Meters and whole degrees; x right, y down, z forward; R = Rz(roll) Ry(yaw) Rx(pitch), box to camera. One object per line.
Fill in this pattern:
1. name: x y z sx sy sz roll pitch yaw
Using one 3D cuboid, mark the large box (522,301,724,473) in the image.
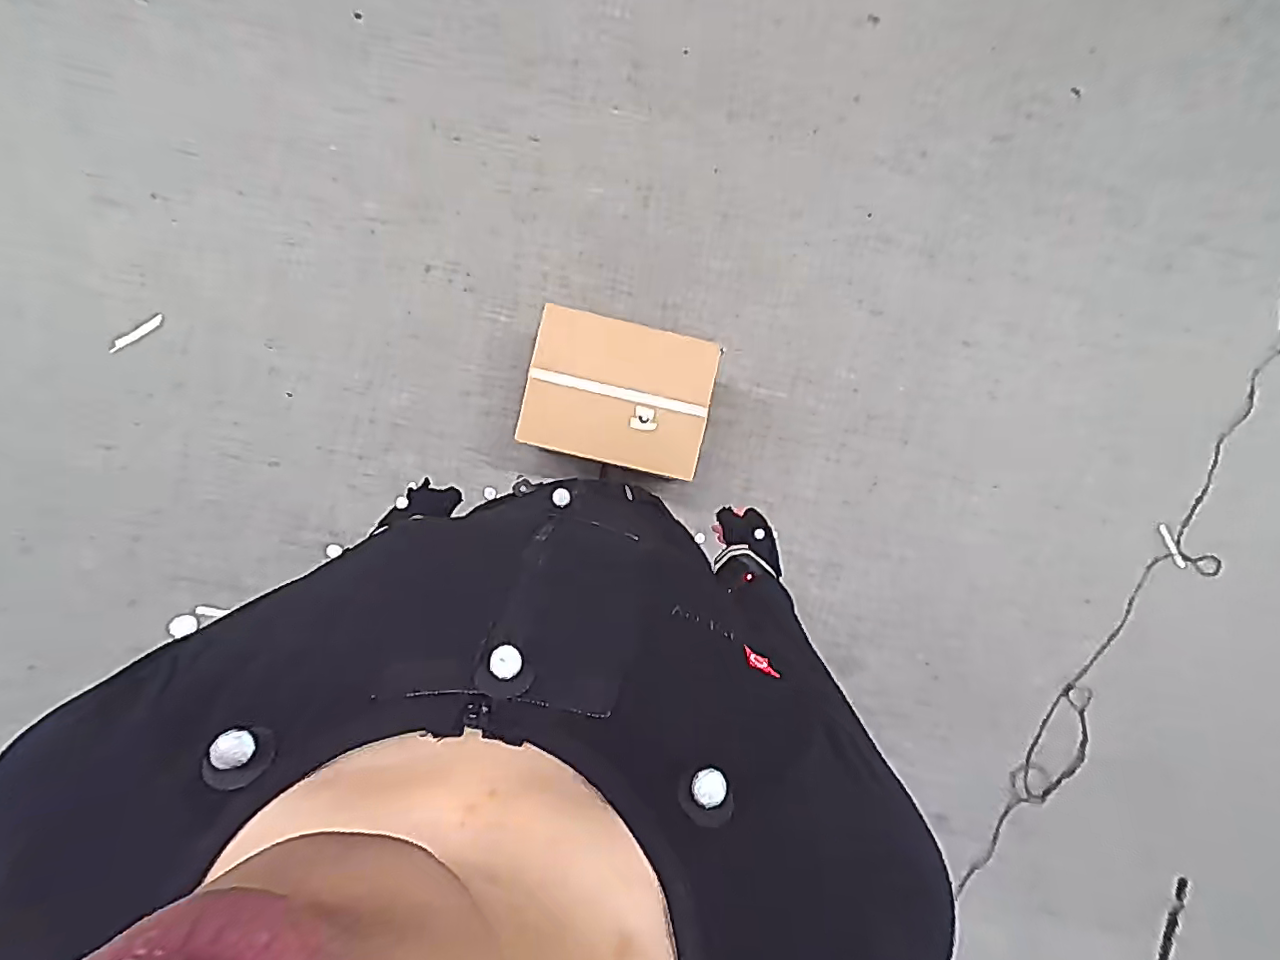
1. large box: -0.045 -0.206 1.341 0.408 0.320 0.320 13 91 -3
